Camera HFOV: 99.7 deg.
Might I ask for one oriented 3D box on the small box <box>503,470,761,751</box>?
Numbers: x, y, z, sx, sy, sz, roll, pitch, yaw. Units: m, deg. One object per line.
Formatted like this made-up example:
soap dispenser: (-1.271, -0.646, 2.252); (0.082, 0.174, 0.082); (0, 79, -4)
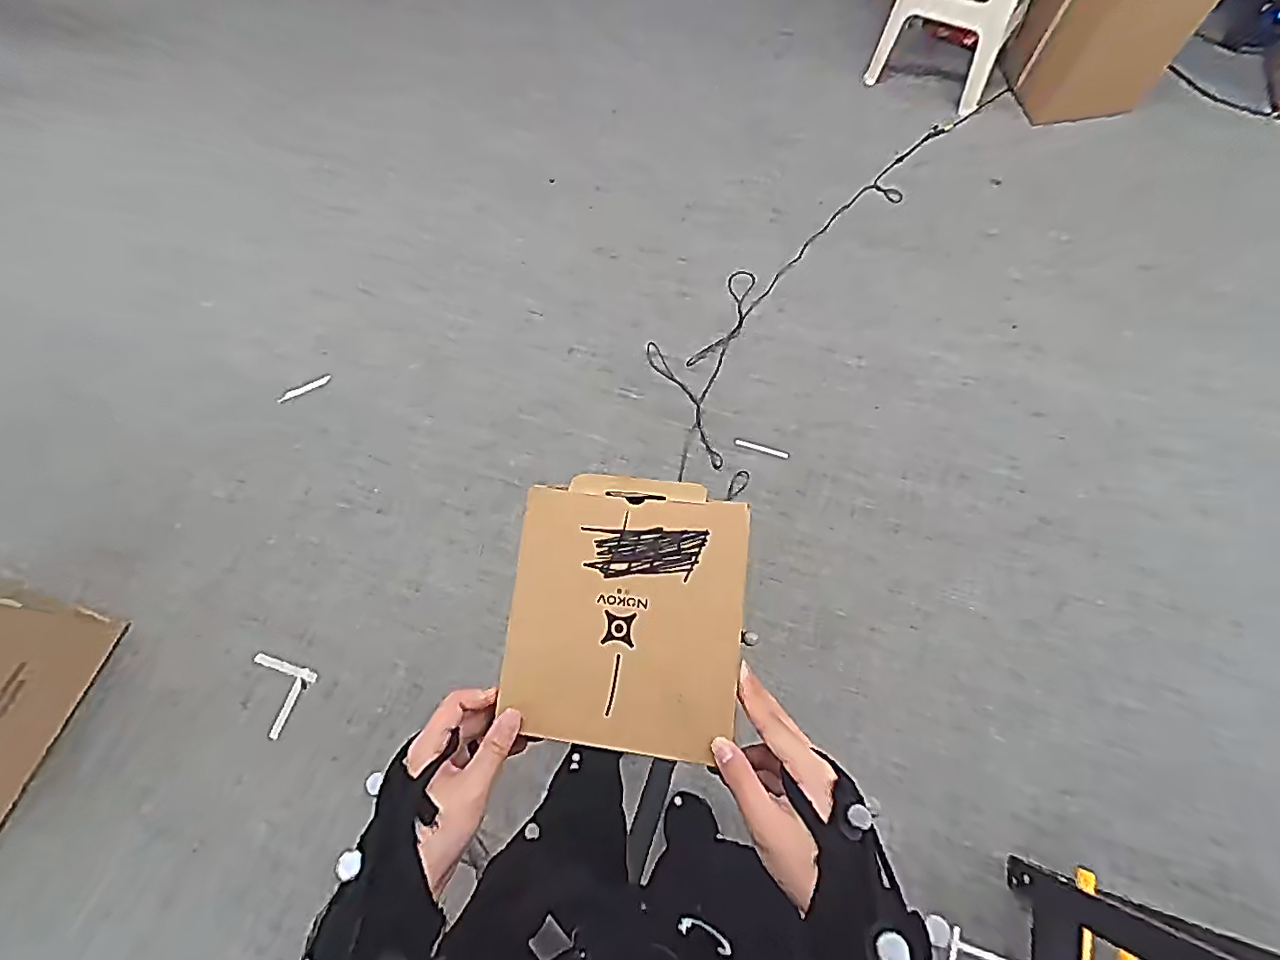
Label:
small box: (0.006, 0.101, 0.454); (0.168, 0.176, 0.179); (5, 78, 10)
